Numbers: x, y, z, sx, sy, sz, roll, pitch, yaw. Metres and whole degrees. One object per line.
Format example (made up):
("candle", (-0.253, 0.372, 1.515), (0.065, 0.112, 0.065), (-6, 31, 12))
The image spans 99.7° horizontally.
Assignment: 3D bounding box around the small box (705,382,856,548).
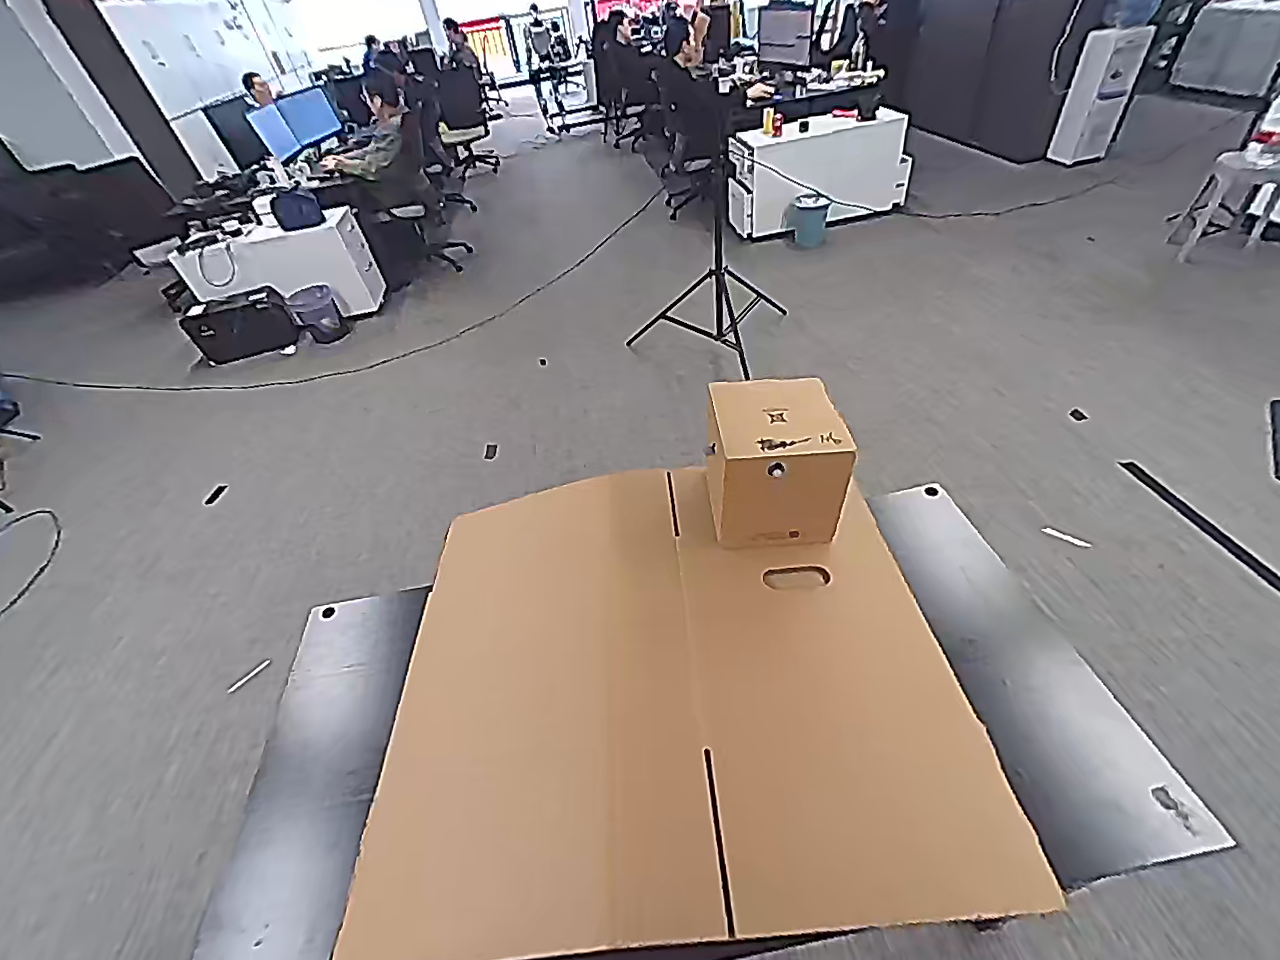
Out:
("small box", (0.186, -0.023, 0.779), (0.168, 0.176, 0.179), (-4, 41, 1))
